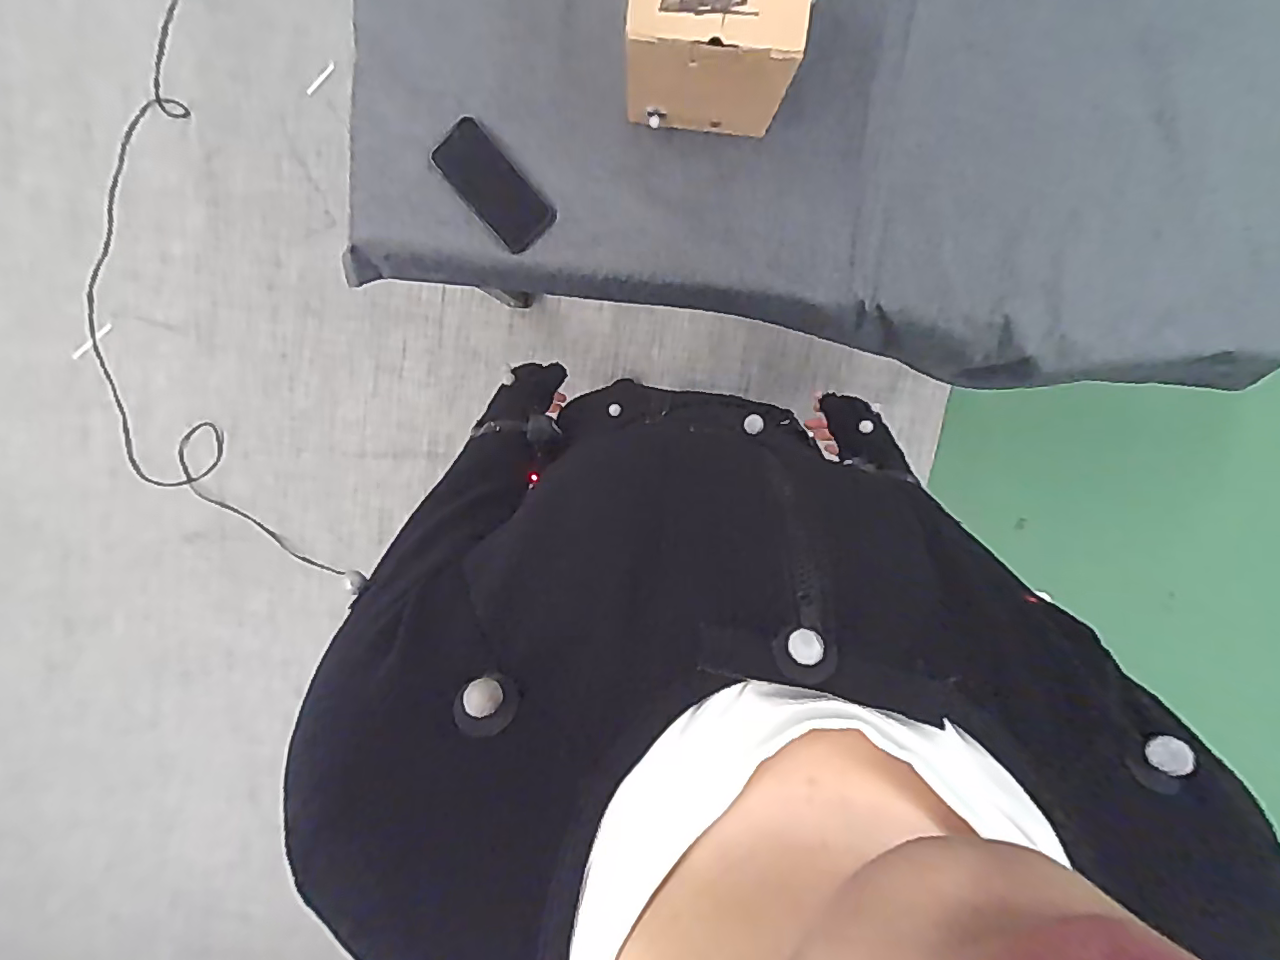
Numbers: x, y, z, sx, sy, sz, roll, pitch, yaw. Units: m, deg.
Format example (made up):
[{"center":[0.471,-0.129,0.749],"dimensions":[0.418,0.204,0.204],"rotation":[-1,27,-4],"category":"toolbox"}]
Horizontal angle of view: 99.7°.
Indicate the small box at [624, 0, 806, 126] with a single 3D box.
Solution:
[{"center":[0.075,-0.499,0.556],"dimensions":[0.168,0.176,0.179],"rotation":[6,99,-2],"category":"small box"}]
